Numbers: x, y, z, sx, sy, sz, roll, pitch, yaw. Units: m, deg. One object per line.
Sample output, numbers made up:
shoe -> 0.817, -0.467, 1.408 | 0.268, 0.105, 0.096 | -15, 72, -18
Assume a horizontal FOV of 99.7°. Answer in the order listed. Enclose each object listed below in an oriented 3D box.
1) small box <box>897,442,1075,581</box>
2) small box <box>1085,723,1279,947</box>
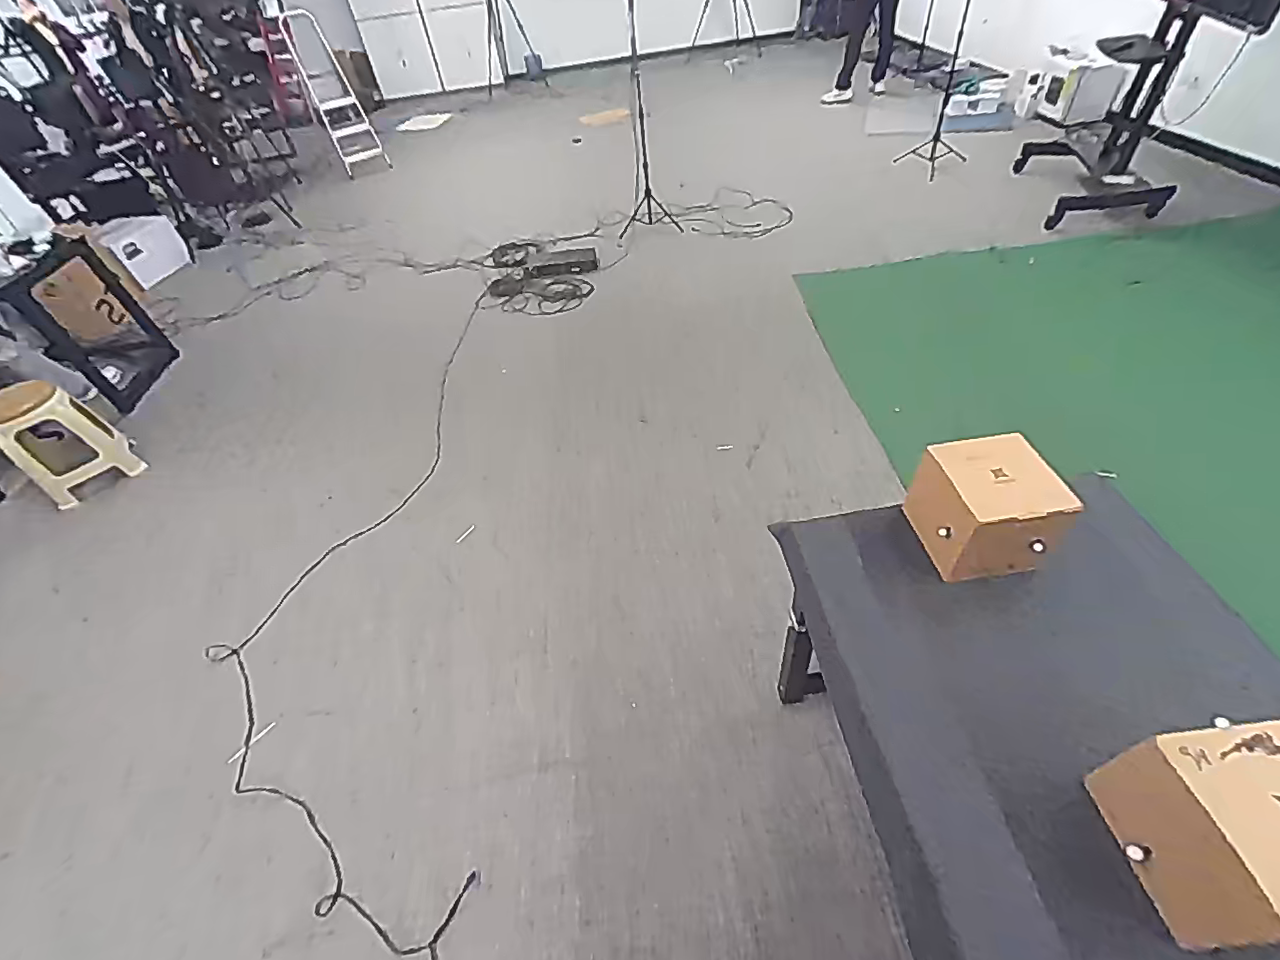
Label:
small box -> 0.579, 0.060, 0.935 | 0.168, 0.176, 0.179 | -7, 44, -4
small box -> 0.661, 0.393, 0.596 | 0.168, 0.176, 0.179 | -6, 46, -1
